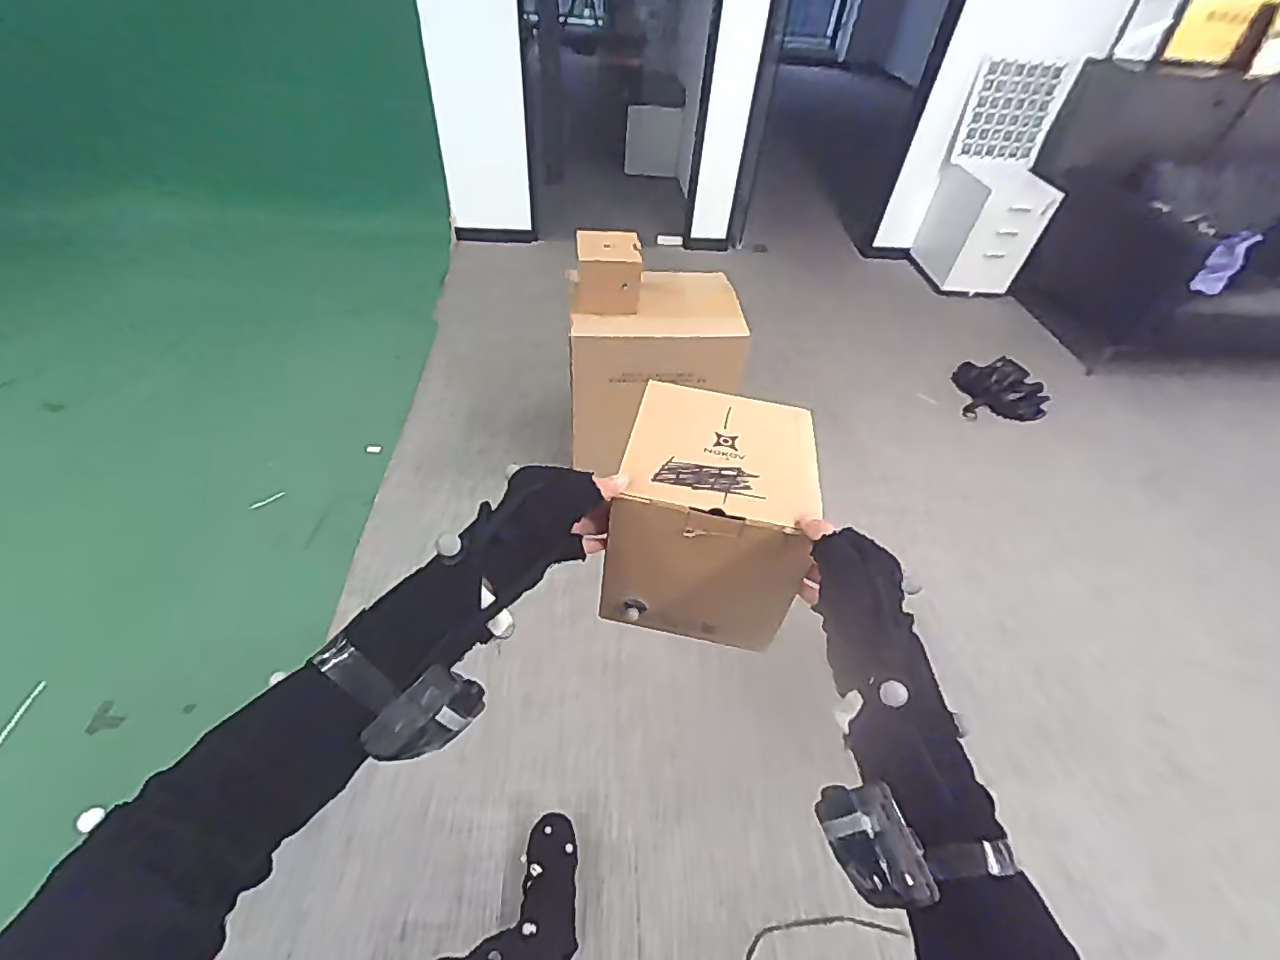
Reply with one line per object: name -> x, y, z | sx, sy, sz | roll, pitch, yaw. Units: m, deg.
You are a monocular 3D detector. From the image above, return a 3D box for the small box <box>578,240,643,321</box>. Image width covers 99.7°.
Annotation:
small box -> -0.091, -0.584, 1.588 | 0.179, 0.176, 0.168 | -3, 50, -6

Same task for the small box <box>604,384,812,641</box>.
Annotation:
small box -> 0.062, 0.031, 0.534 | 0.168, 0.176, 0.179 | 11, 40, 4
